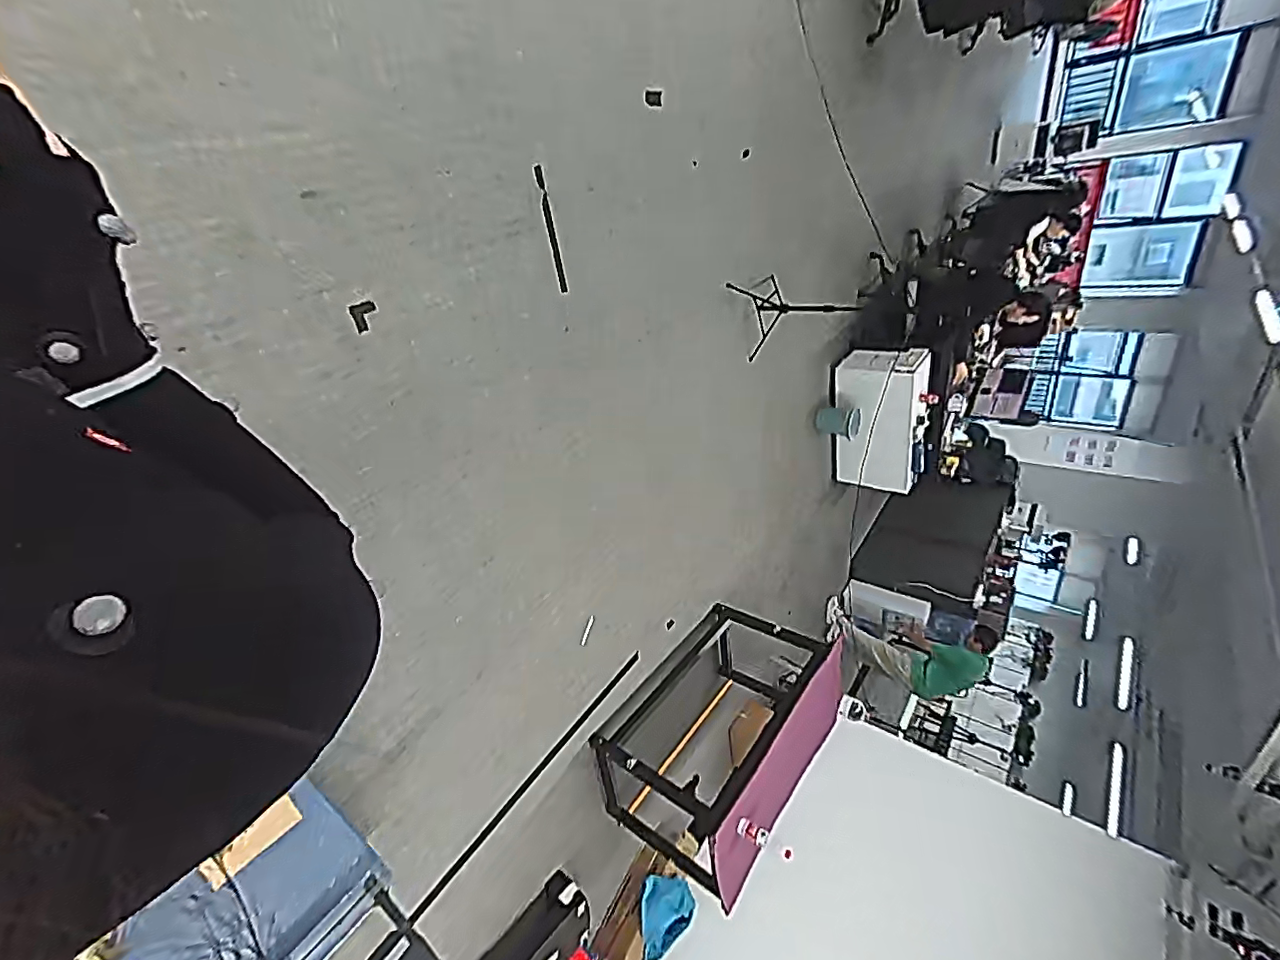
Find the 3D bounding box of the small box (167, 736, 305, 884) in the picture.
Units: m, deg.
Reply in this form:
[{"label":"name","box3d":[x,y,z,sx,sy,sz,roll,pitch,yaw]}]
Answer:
[{"label":"small box","box3d":[-0.875,0.702,1.168,0.179,0.176,0.168,-35,128,-41]}]
